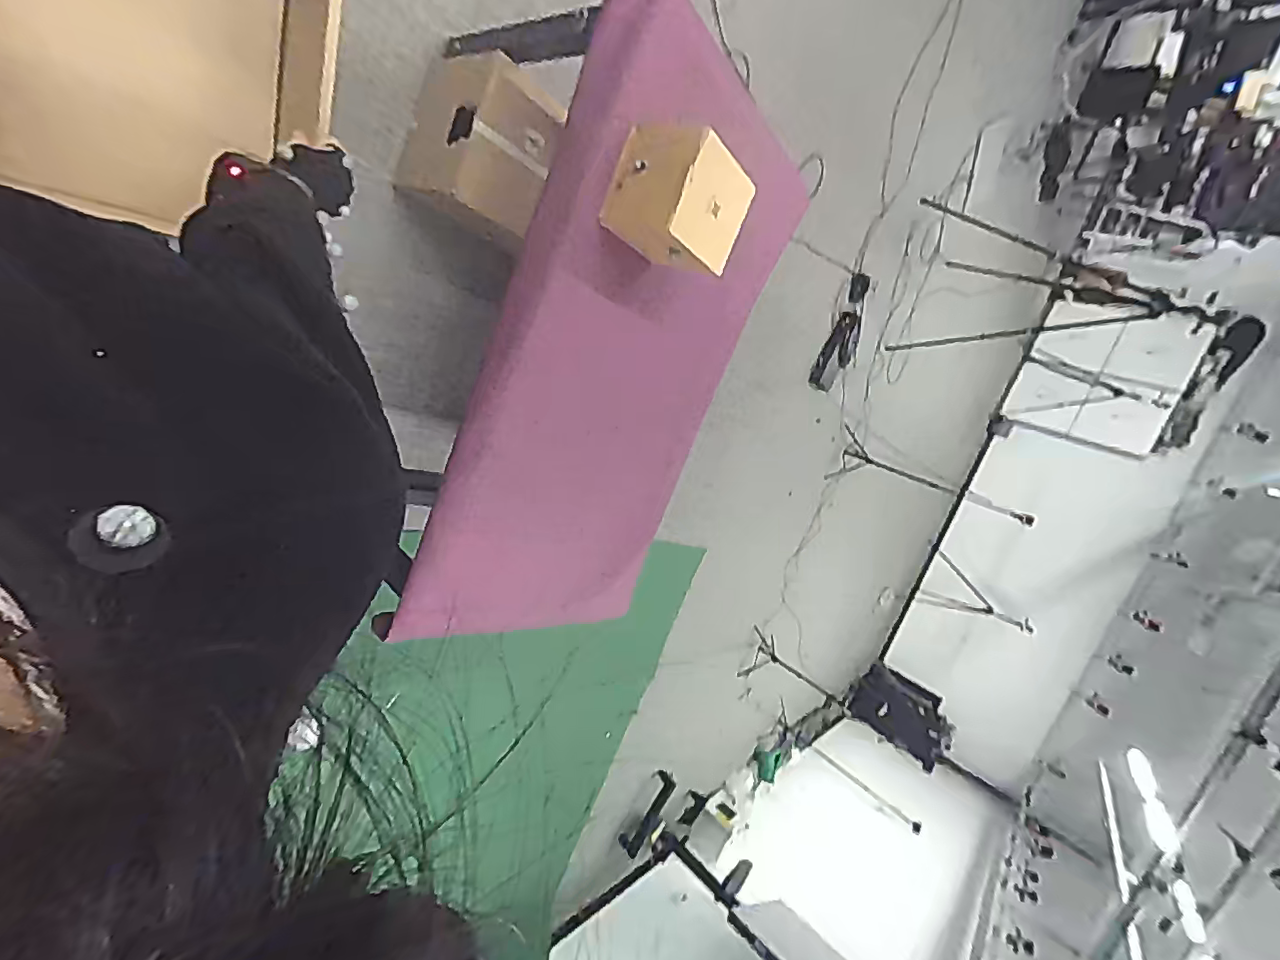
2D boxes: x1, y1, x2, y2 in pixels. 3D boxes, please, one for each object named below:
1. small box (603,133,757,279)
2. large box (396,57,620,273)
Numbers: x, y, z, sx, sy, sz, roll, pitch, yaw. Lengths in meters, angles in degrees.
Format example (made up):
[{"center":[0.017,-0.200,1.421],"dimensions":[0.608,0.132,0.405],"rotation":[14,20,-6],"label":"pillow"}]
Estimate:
[{"center":[0.069,-0.479,0.945],"dimensions":[0.179,0.176,0.168],"rotation":[12,104,-52],"label":"small box"},{"center":[-0.332,-0.777,1.387],"dimensions":[0.408,0.320,0.320],"rotation":[11,104,-51],"label":"large box"}]
